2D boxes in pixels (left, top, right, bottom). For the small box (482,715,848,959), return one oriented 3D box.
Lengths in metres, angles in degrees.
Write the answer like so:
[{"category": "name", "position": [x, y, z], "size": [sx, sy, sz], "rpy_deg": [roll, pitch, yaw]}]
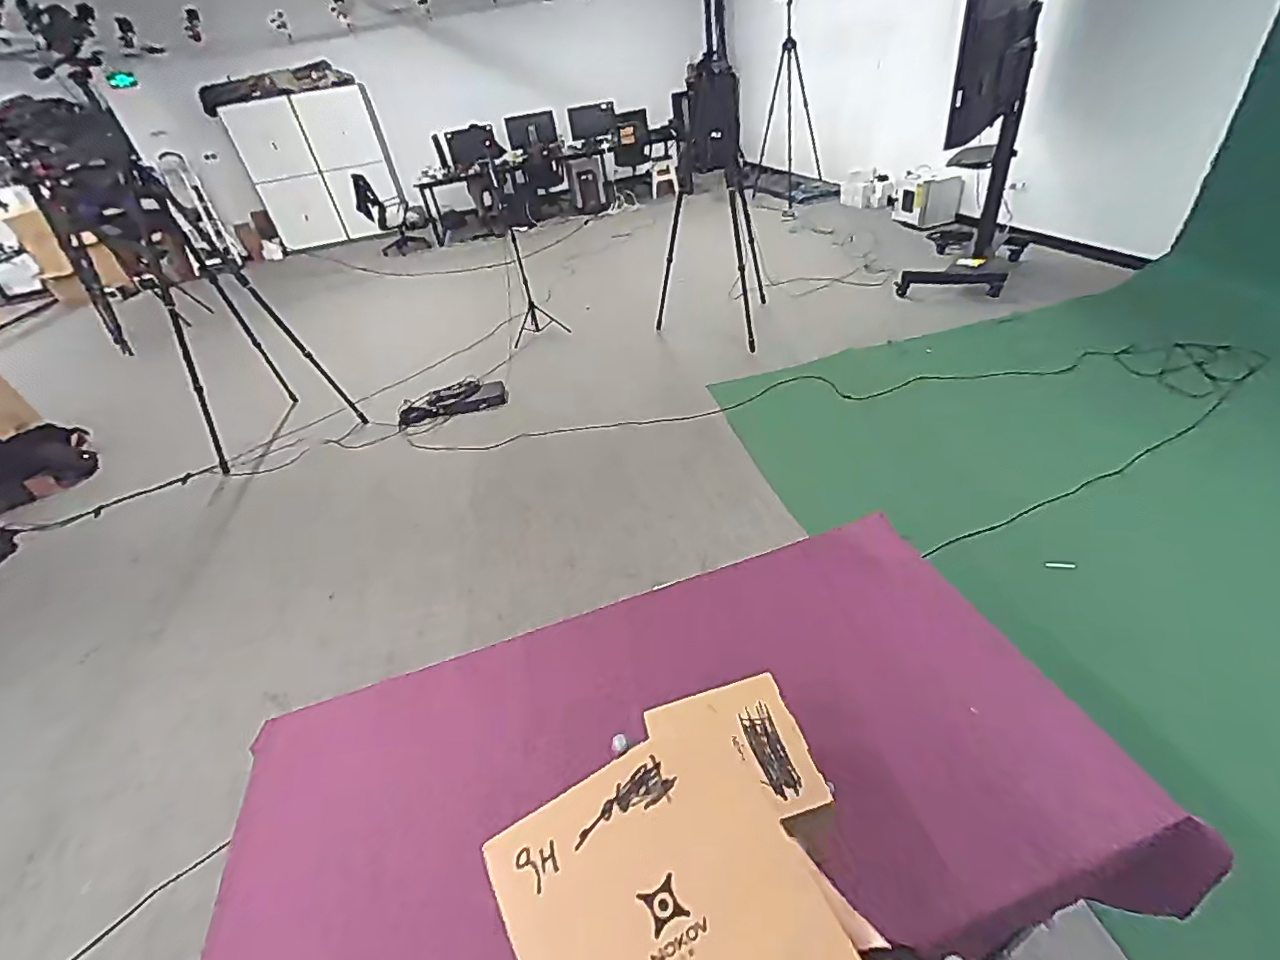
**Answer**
[{"category": "small box", "position": [0.020, 0.291, 0.374], "size": [0.168, 0.176, 0.179], "rpy_deg": [-28, 62, -11]}]
